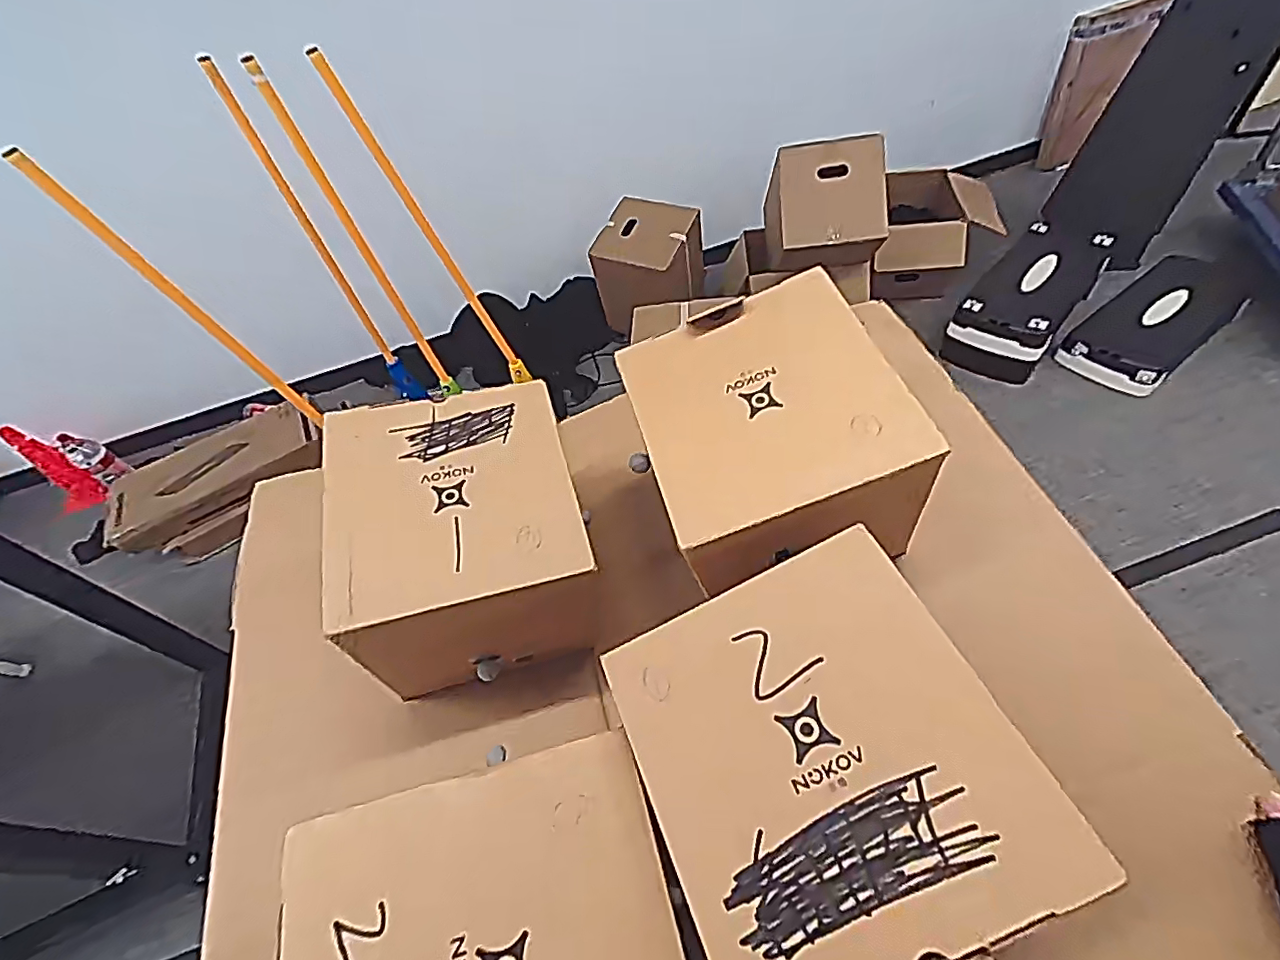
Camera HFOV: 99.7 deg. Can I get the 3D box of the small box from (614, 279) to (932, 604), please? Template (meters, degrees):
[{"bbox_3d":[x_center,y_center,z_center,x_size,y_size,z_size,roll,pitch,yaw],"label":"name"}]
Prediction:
[{"bbox_3d":[0.099,-0.015,0.434,0.168,0.176,0.179,-22,56,5],"label":"small box"}]
